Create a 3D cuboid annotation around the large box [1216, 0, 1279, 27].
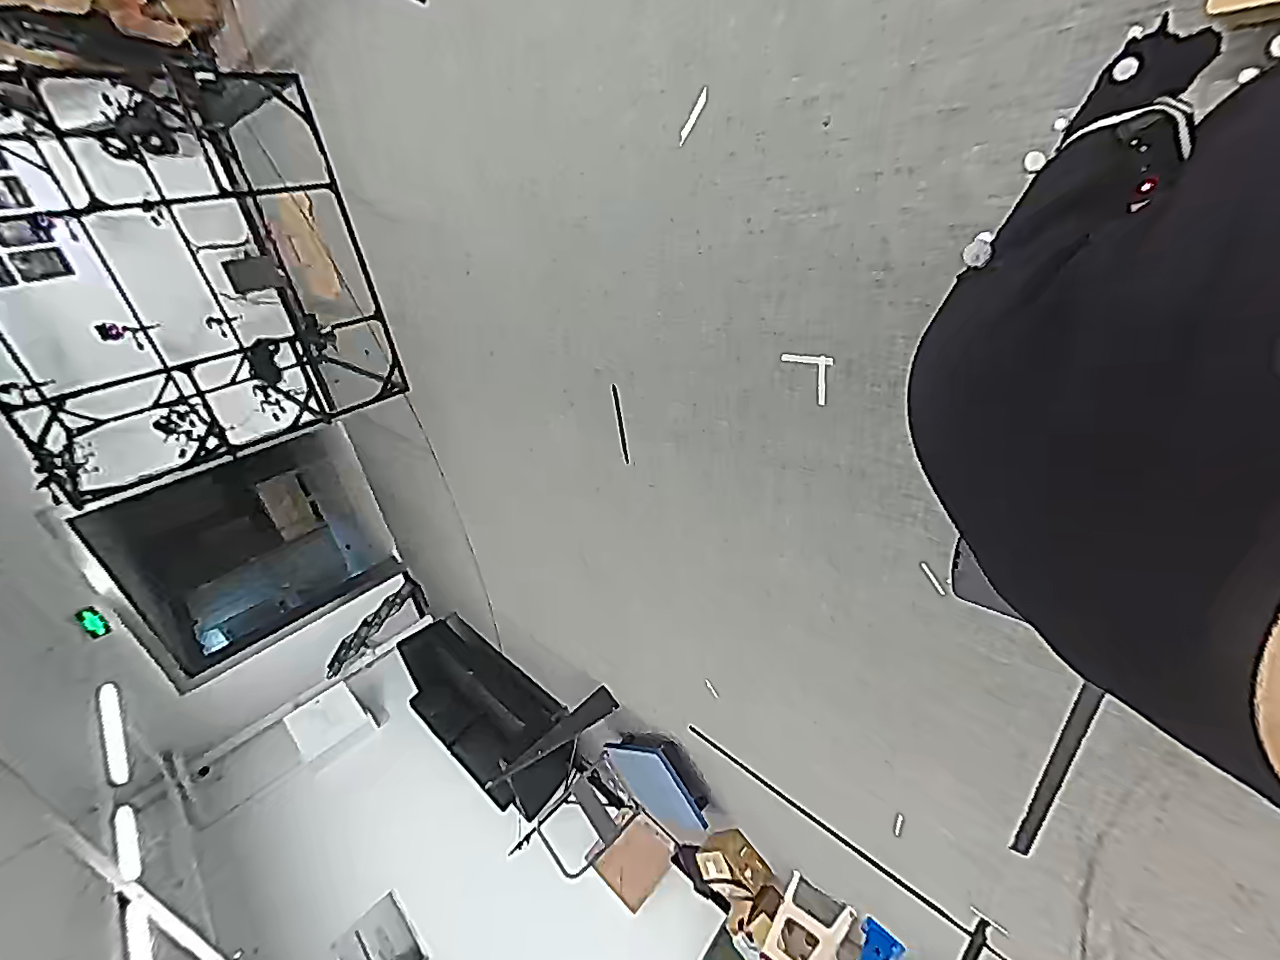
[{"bbox_3d":[0.971,-0.756,0.593,0.408,0.320,0.320,20,130,40],"label":"large box"}]
